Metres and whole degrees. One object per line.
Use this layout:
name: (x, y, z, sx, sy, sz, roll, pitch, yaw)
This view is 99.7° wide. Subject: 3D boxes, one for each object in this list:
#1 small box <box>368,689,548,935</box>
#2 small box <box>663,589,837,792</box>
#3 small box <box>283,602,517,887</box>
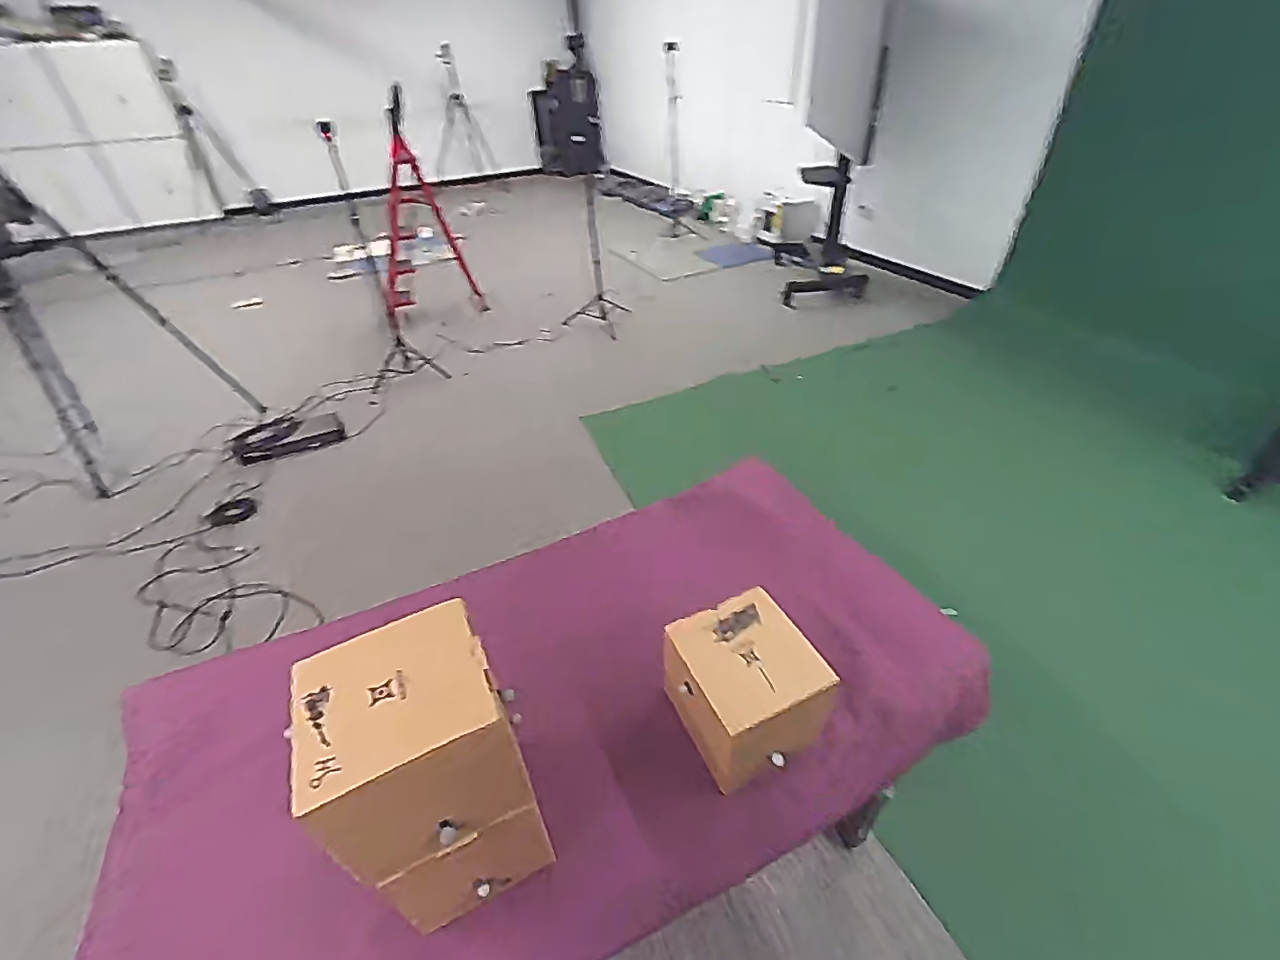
small box: (-0.225, 0.394, 0.658, 0.168, 0.176, 0.179, -20, 40, -19)
small box: (0.142, 0.292, 0.761, 0.168, 0.176, 0.179, -19, 41, -18)
small box: (-0.236, 0.265, 0.558, 0.179, 0.176, 0.168, -19, 39, -20)
